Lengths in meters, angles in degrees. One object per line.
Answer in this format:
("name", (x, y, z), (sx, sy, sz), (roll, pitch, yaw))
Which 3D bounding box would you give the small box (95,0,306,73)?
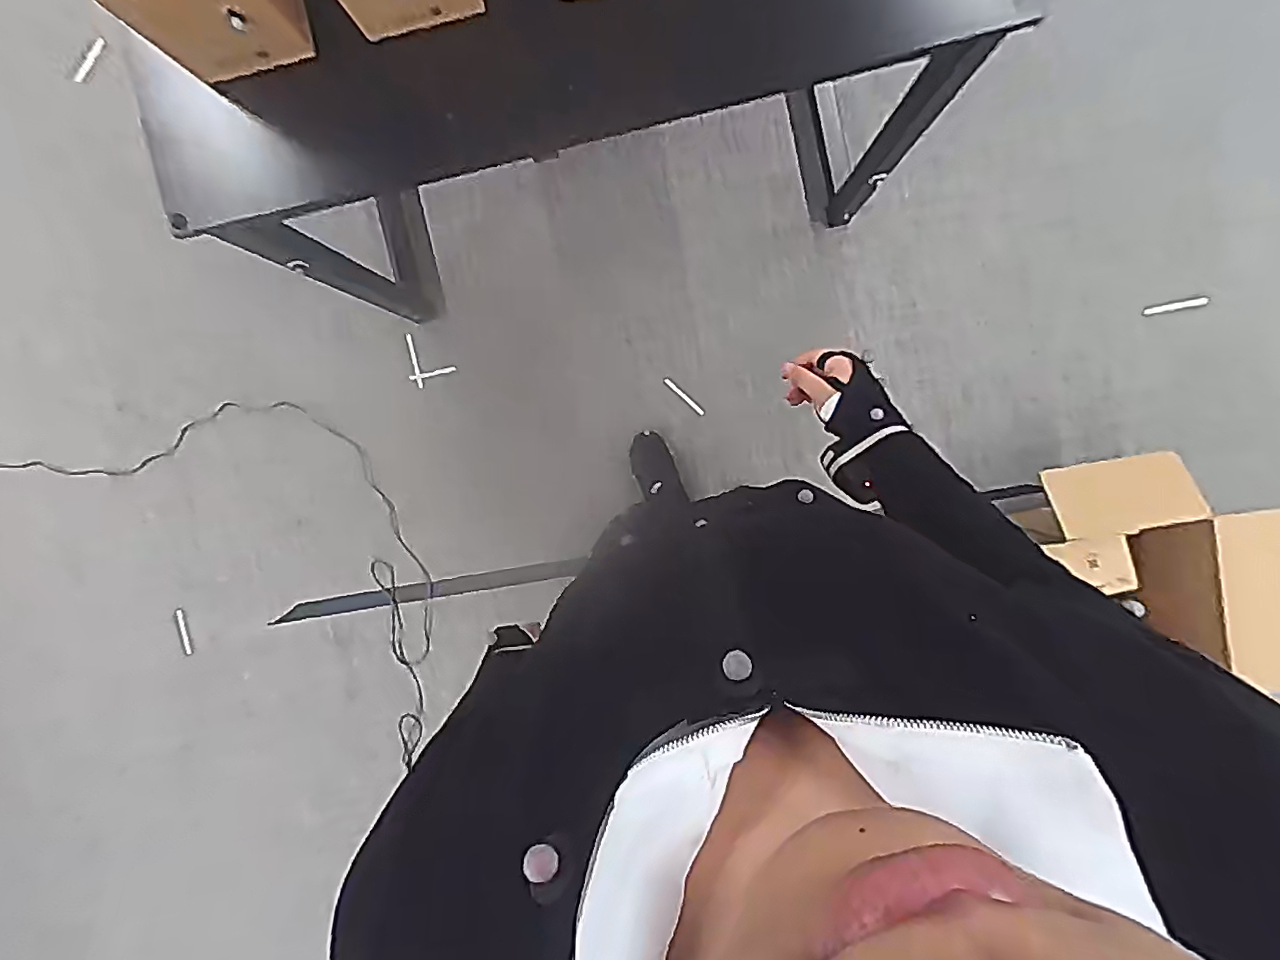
("small box", (-0.544, -0.639, 0.655), (0.168, 0.176, 0.179), (-12, 93, 2))

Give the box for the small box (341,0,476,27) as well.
("small box", (-0.309, -0.684, 0.636), (0.168, 0.176, 0.179), (-11, 94, 3))
